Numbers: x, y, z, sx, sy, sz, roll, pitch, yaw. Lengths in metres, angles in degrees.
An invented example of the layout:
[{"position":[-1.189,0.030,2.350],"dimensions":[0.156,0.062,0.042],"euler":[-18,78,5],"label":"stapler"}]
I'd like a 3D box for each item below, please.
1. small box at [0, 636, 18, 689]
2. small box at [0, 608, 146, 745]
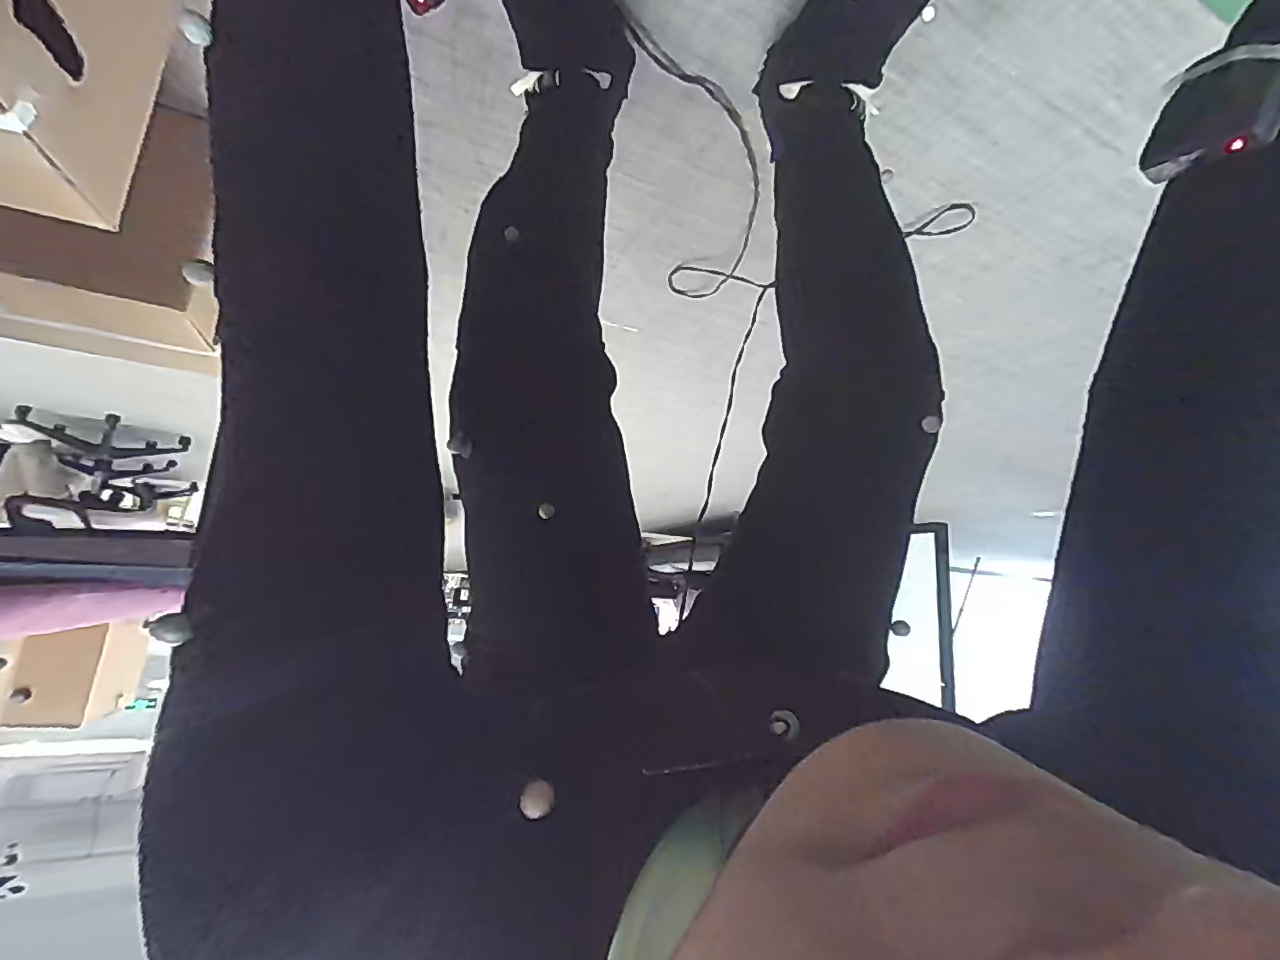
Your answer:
[{"position":[-0.768,0.231,0.507],"dimensions":[0.179,0.176,0.168],"euler":[10,167,-23],"label":"small box"},{"position":[-0.911,0.295,0.834],"dimensions":[0.179,0.176,0.168],"euler":[11,166,-20],"label":"small box"}]
